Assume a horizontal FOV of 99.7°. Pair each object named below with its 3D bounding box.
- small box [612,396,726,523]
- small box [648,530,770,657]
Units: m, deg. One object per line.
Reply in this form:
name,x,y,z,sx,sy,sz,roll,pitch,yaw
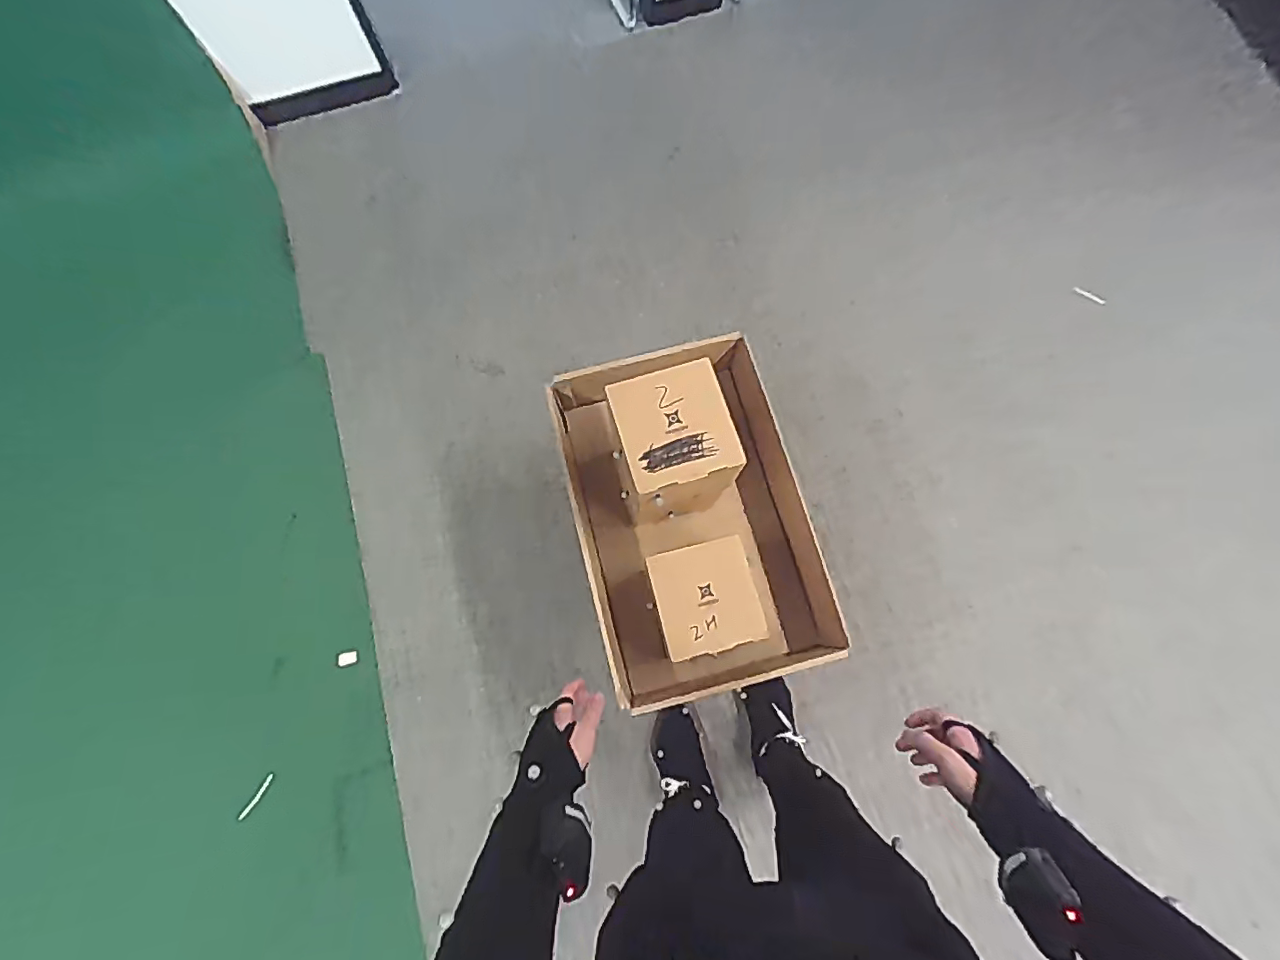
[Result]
small box,0.048,-0.032,1.026,0.168,0.176,0.179,-16,77,-3
small box,0.111,0.205,0.956,0.168,0.176,0.179,-14,75,-2
